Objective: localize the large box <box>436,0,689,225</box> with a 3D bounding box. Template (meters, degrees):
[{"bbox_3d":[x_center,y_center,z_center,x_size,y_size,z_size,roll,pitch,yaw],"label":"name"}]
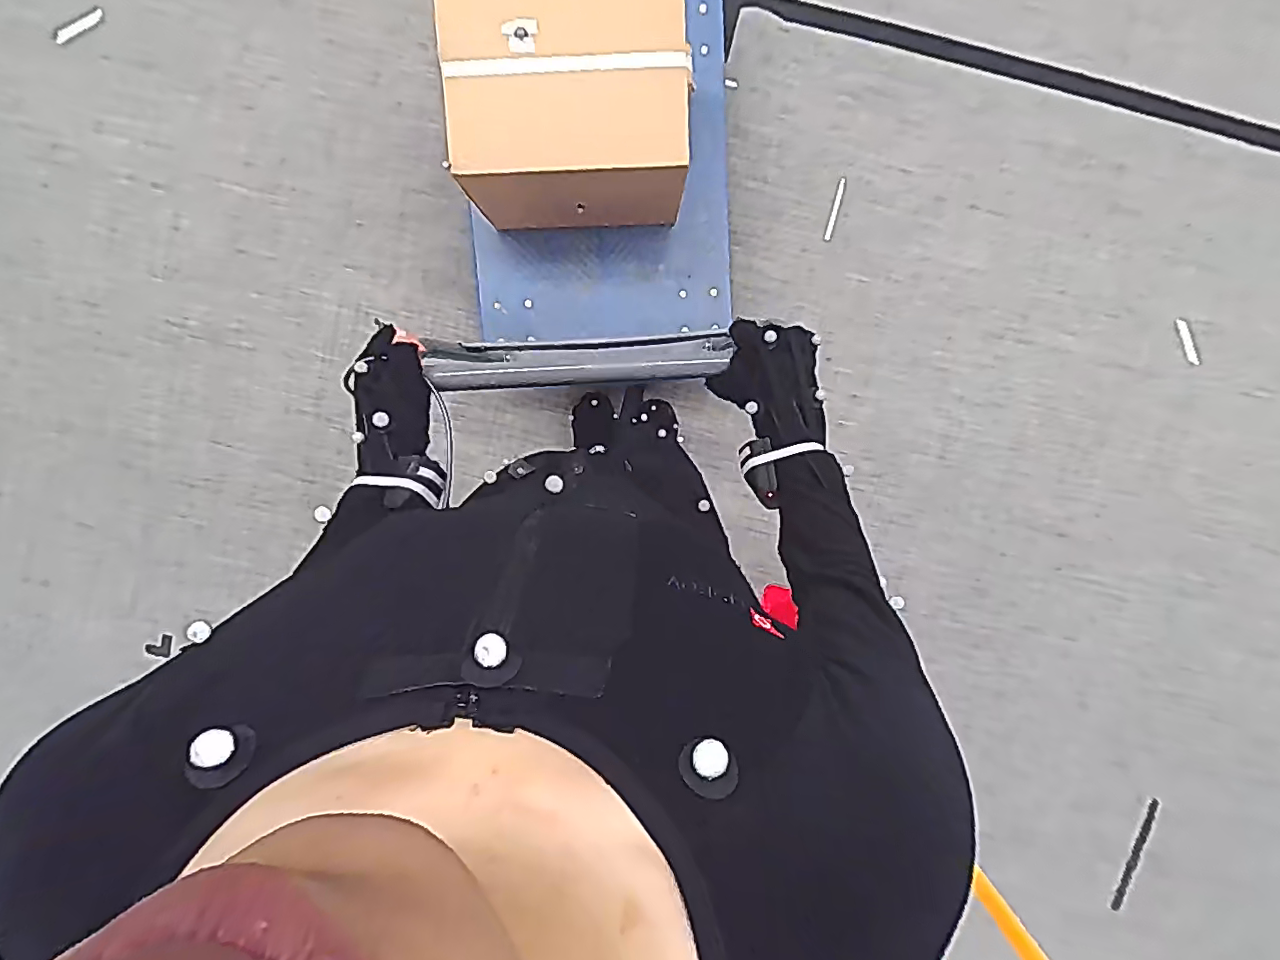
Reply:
[{"bbox_3d":[-0.123,-0.699,1.033,0.408,0.320,0.320,-2,99,0],"label":"large box"}]

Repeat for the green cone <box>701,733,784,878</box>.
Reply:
[{"bbox_3d":[0.302,0.880,1.428,0.202,0.368,0.200,17,98,-5],"label":"green cone"}]

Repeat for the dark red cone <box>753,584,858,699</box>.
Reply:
[{"bbox_3d":[0.436,0.421,1.343,0.201,0.394,0.202,13,99,-5],"label":"dark red cone"}]
